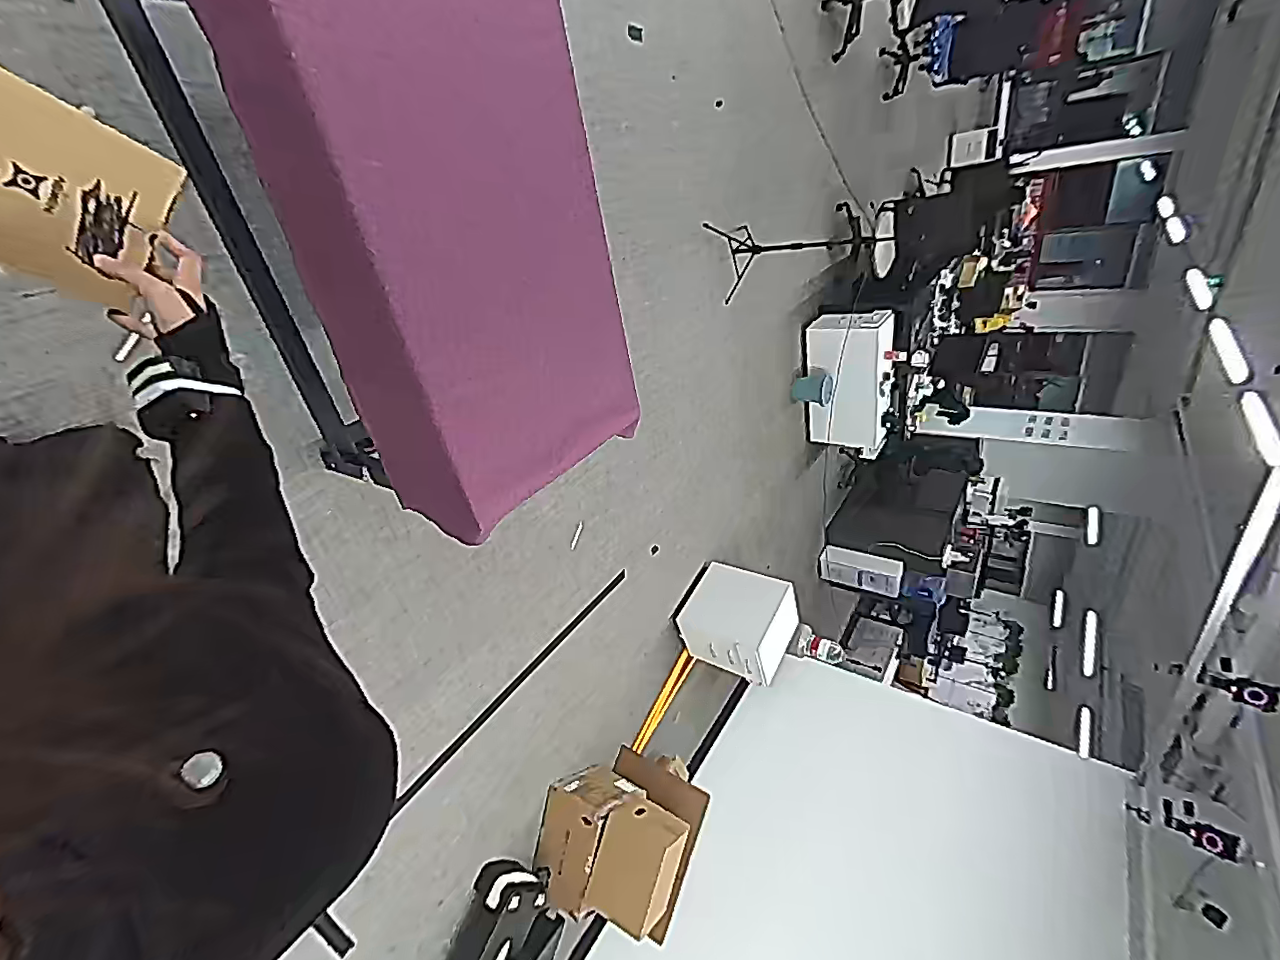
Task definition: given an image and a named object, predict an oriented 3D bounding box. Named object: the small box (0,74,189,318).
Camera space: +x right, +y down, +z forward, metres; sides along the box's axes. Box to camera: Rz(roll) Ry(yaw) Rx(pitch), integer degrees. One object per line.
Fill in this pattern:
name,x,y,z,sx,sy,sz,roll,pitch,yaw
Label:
small box,-0.615,-0.290,0.554,0.179,0.176,0.168,22,91,-52
